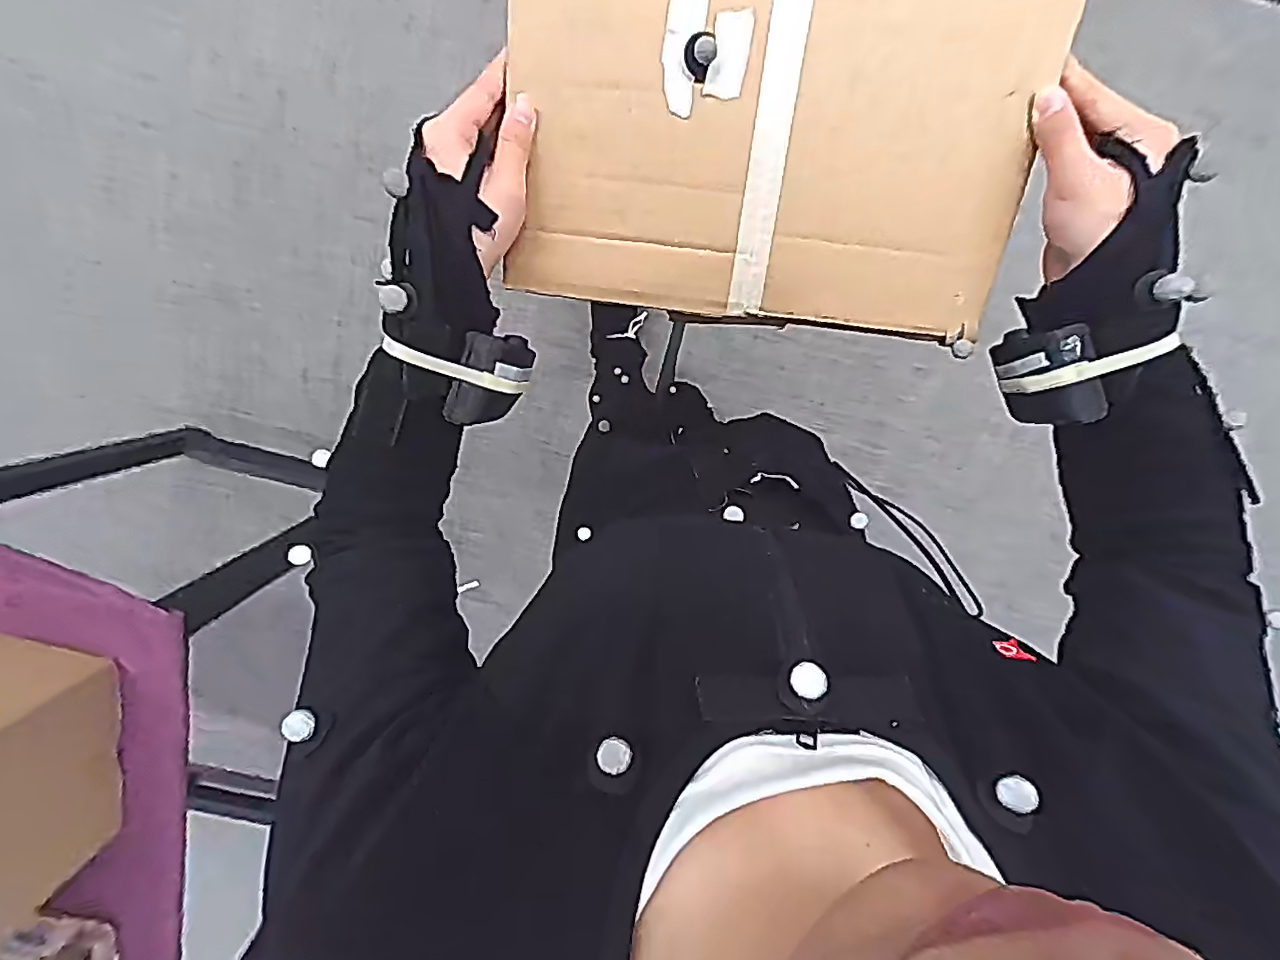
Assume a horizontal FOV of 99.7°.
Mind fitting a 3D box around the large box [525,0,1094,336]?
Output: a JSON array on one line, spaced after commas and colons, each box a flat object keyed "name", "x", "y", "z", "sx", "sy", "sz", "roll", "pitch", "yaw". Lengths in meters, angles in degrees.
[{"name": "large box", "x": 0.097, "y": -0.346, "z": 0.419, "sx": 0.320, "sy": 0.320, "sz": 0.408, "roll": 6, "pitch": 111, "yaw": 0}]
